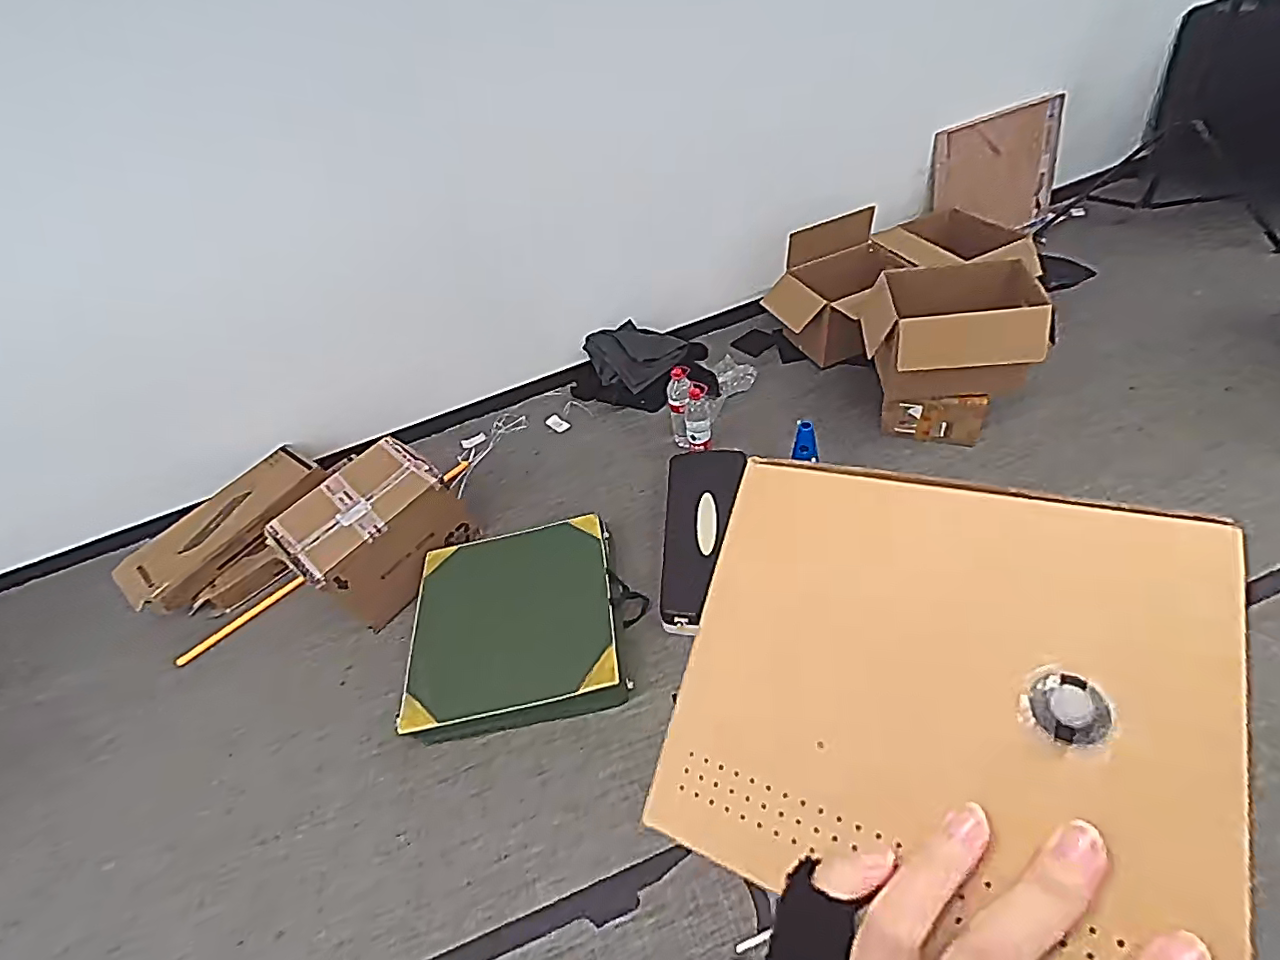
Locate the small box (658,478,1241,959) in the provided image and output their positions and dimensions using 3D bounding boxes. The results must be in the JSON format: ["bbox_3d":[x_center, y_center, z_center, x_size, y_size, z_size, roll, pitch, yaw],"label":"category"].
[{"bbox_3d":[0.134,0.118,0.265,0.179,0.168,0.176,9,68,30],"label":"small box"}]
